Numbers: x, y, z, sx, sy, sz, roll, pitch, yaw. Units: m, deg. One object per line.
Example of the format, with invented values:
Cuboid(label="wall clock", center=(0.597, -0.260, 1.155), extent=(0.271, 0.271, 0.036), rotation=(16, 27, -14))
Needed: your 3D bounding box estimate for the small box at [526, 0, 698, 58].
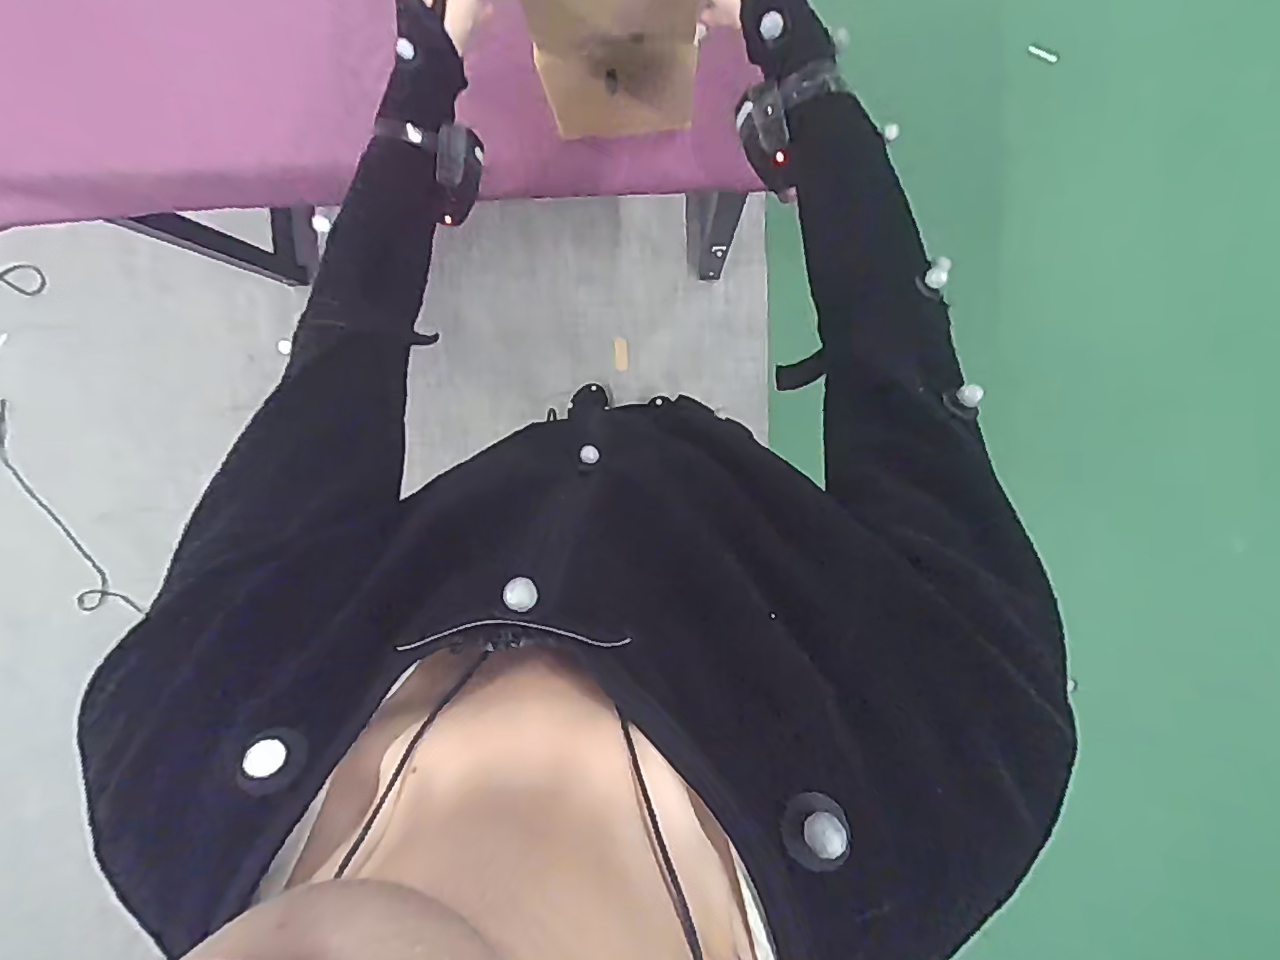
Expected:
Cuboid(label="small box", center=(-0.032, -0.524, 0.477), extent=(0.168, 0.176, 0.179), rotation=(-2, 96, 5))

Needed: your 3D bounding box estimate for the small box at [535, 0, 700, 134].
Cuboid(label="small box", center=(-0.022, -0.542, 0.640), extent=(0.179, 0.176, 0.168), rotation=(-2, 97, 5))
